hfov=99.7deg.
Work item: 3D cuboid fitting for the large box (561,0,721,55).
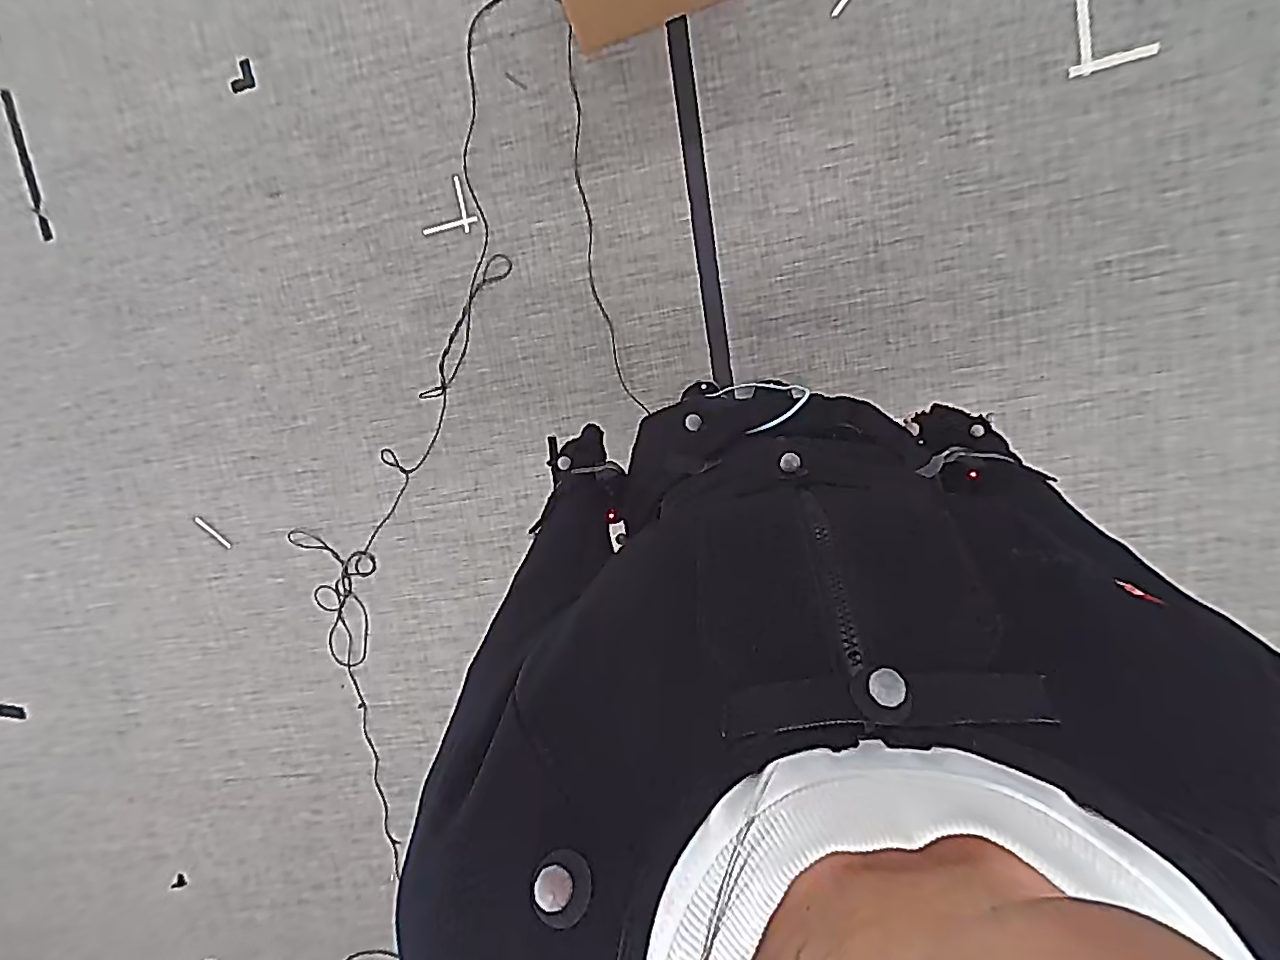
[{"bbox_3d":[-0.013,-1.186,1.108,0.408,0.320,0.320,-15,99,8],"label":"large box"}]
